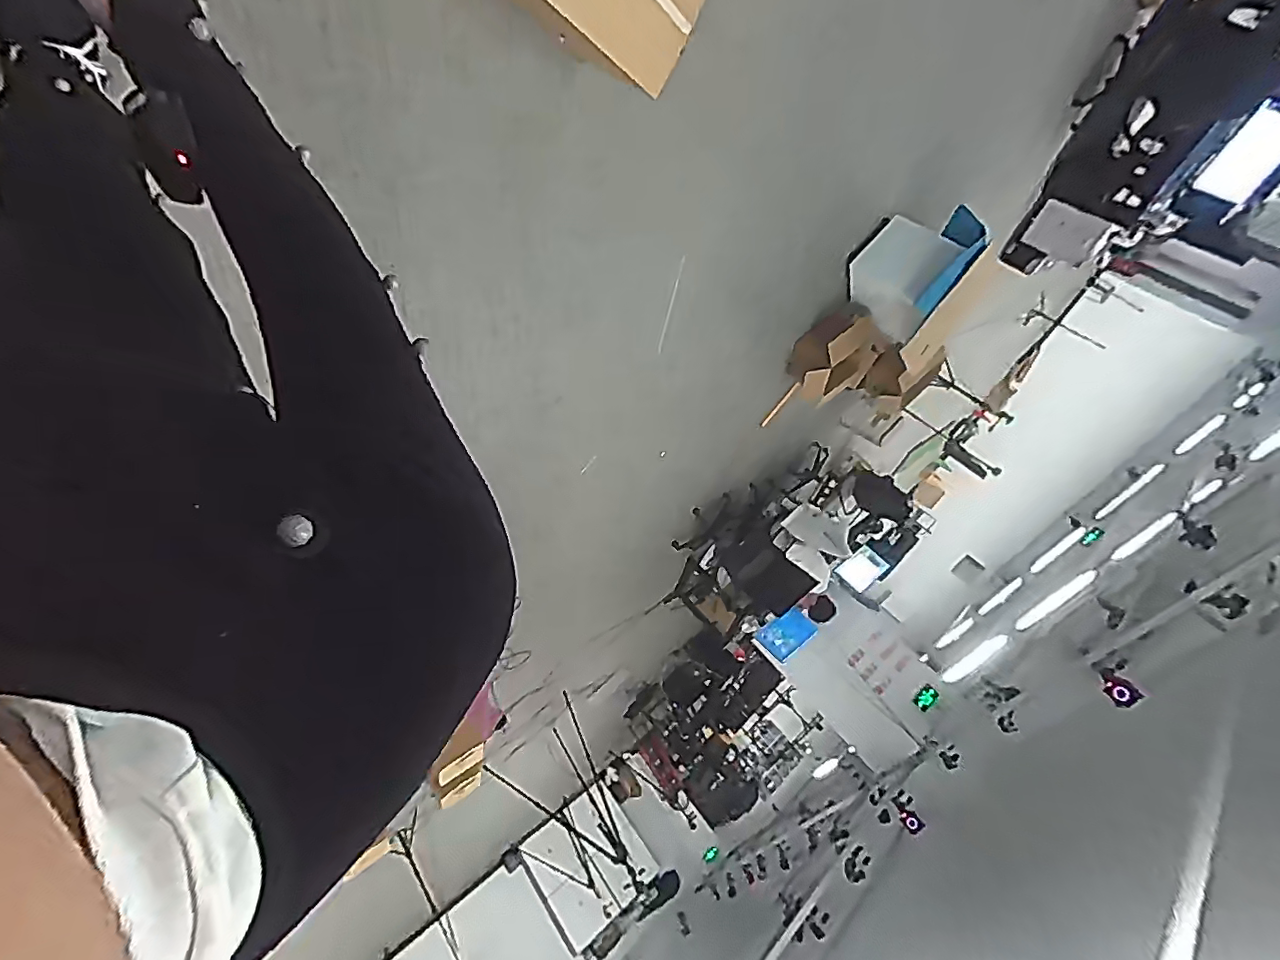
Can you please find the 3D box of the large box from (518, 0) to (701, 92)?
[{"bbox_3d":[-0.100,-1.174,1.206,0.408,0.320,0.320,-3,132,-53],"label":"large box"}]

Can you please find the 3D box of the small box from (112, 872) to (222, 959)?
[{"bbox_3d":[-1.281,1.212,1.470,0.168,0.176,0.179,-26,151,-37],"label":"small box"}]

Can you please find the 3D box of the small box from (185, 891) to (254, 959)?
[{"bbox_3d":[-1.352,1.433,1.690,0.168,0.176,0.179,-29,150,-35],"label":"small box"}]

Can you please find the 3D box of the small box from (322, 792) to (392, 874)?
[{"bbox_3d":[-1.015,1.265,1.945,0.168,0.176,0.179,-25,147,-34],"label":"small box"}]

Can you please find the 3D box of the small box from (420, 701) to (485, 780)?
[{"bbox_3d":[-0.673,0.924,1.933,0.168,0.176,0.179,-25,148,-34],"label":"small box"}]
